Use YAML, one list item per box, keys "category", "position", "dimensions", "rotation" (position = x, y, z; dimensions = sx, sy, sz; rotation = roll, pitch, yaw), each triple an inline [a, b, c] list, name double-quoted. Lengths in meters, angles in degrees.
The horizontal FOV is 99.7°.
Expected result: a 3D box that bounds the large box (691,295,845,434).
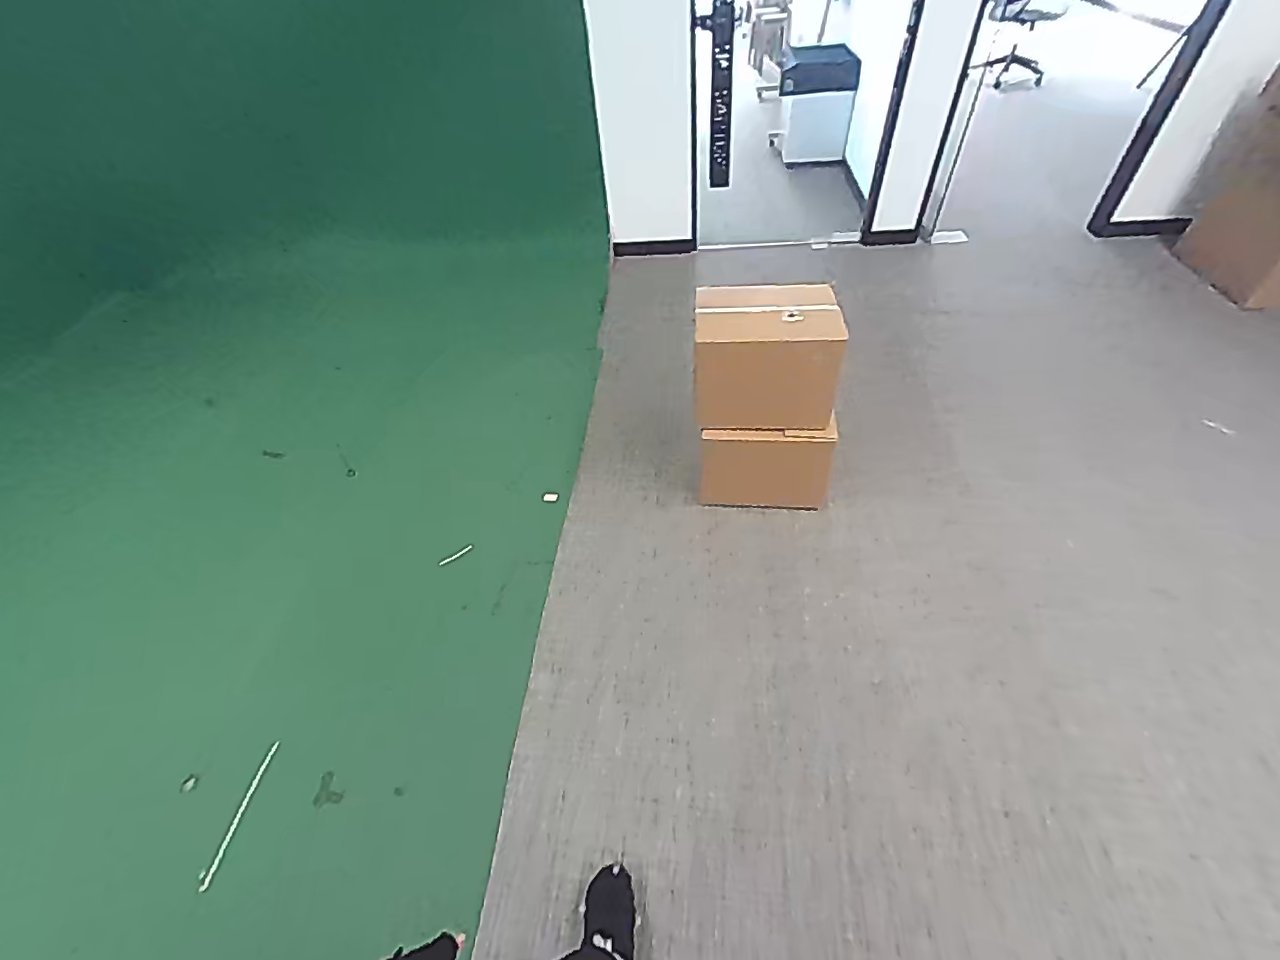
- category: "large box"
  position: [0.360, -0.350, 1.640]
  dimensions: [0.408, 0.320, 0.320]
  rotation: [2, 44, 6]
